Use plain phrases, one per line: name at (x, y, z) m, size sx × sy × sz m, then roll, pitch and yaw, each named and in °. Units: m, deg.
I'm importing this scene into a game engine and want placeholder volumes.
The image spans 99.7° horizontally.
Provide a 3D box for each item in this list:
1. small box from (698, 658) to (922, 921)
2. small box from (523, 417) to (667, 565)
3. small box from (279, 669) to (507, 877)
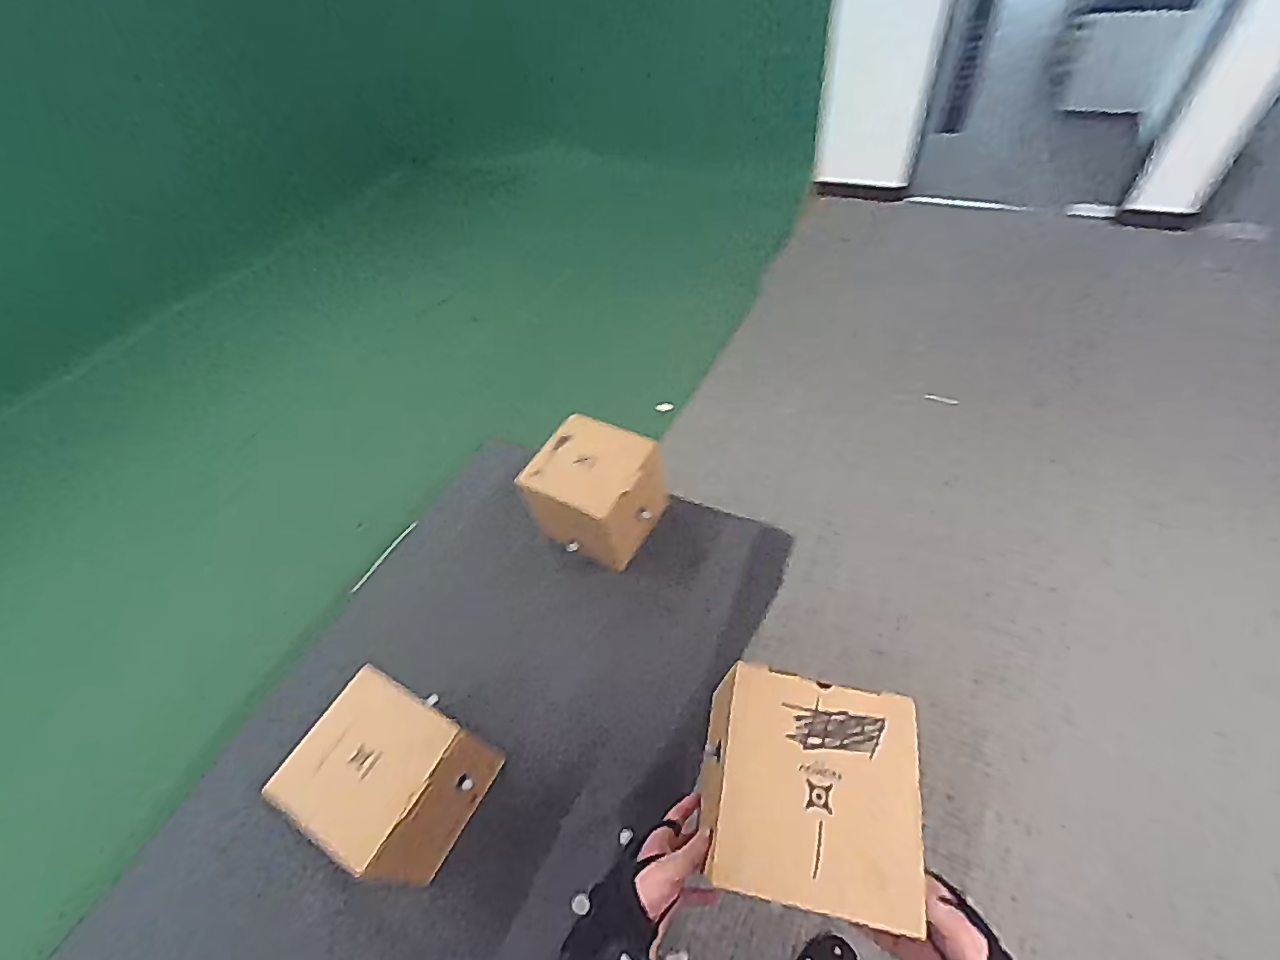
small box at (0.153, 0.297, 0.537) m, size 0.168 × 0.176 × 0.179 m, roll 9°, pitch 60°, yaw 5°
small box at (-0.066, 0.025, 0.939) m, size 0.179 × 0.176 × 0.168 m, roll 22°, pitch 60°, yaw 23°
small box at (-0.305, 0.383, 0.707) m, size 0.179 × 0.176 × 0.168 m, roll 19°, pitch 57°, yaw 23°
